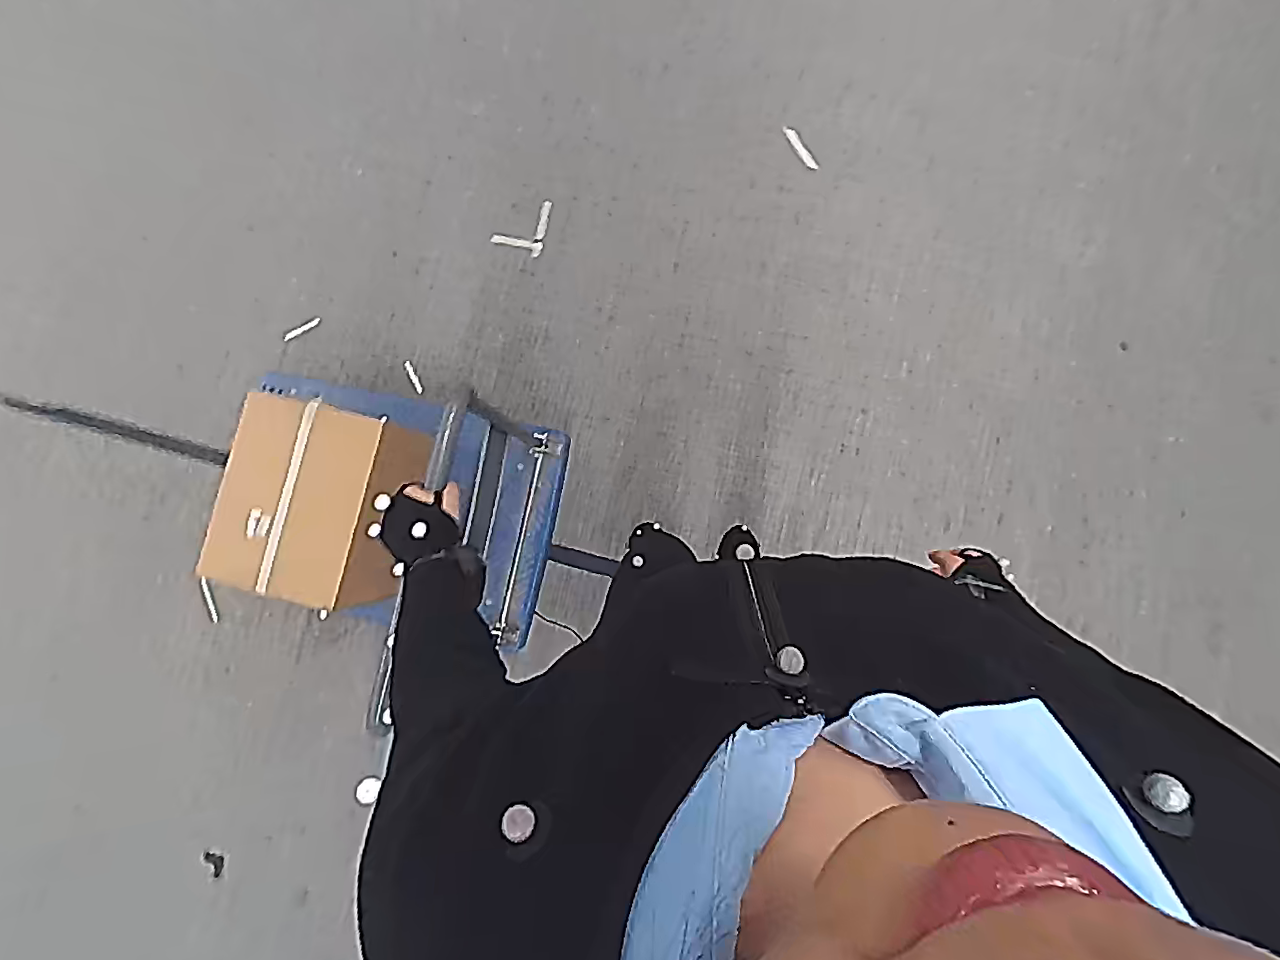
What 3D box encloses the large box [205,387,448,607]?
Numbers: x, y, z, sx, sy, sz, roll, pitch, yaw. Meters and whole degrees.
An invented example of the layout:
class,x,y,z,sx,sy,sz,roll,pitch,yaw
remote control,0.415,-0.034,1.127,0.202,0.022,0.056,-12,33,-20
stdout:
class,x,y,z,sx,sy,sz,roll,pitch,yaw
large box,-0.691,0.036,1.251,0.320,0.320,0.408,14,88,7
